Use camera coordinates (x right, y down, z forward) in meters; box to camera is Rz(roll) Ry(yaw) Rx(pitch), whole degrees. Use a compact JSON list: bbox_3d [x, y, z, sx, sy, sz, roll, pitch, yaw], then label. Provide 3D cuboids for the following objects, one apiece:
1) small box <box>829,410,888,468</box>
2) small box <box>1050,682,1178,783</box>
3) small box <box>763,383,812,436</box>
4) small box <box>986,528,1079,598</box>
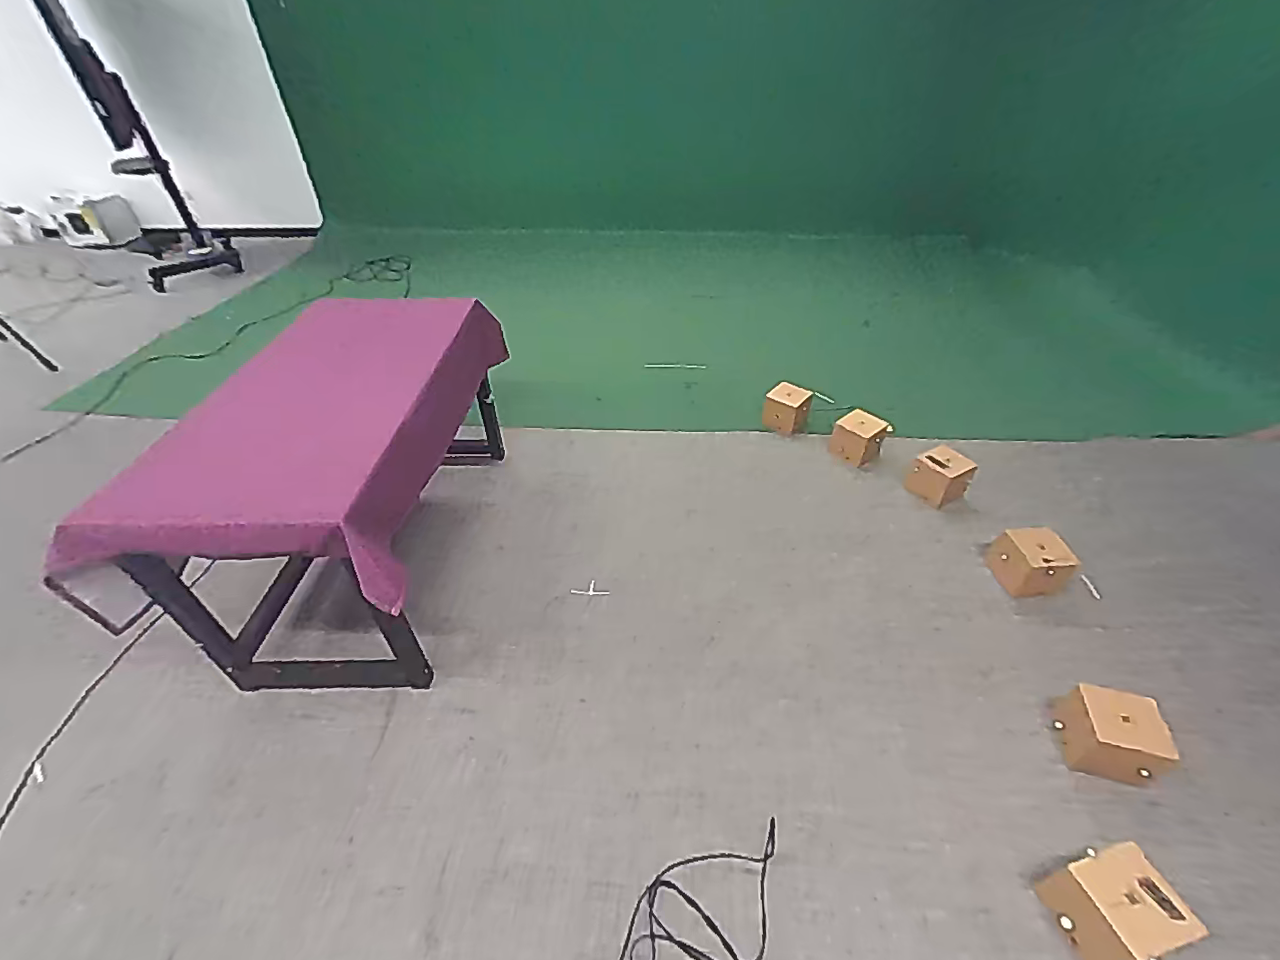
[{"bbox_3d":[0.981,-0.184,2.442,0.179,0.176,0.168,-29,47,-29],"label":"small box"},{"bbox_3d":[1.230,0.666,1.420,0.179,0.176,0.168,10,41,14],"label":"small box"},{"bbox_3d":[0.712,-0.340,2.629,0.168,0.176,0.179,29,48,30],"label":"small box"},{"bbox_3d":[1.345,0.286,1.869,0.168,0.176,0.179,-3,39,-2],"label":"small box"}]
